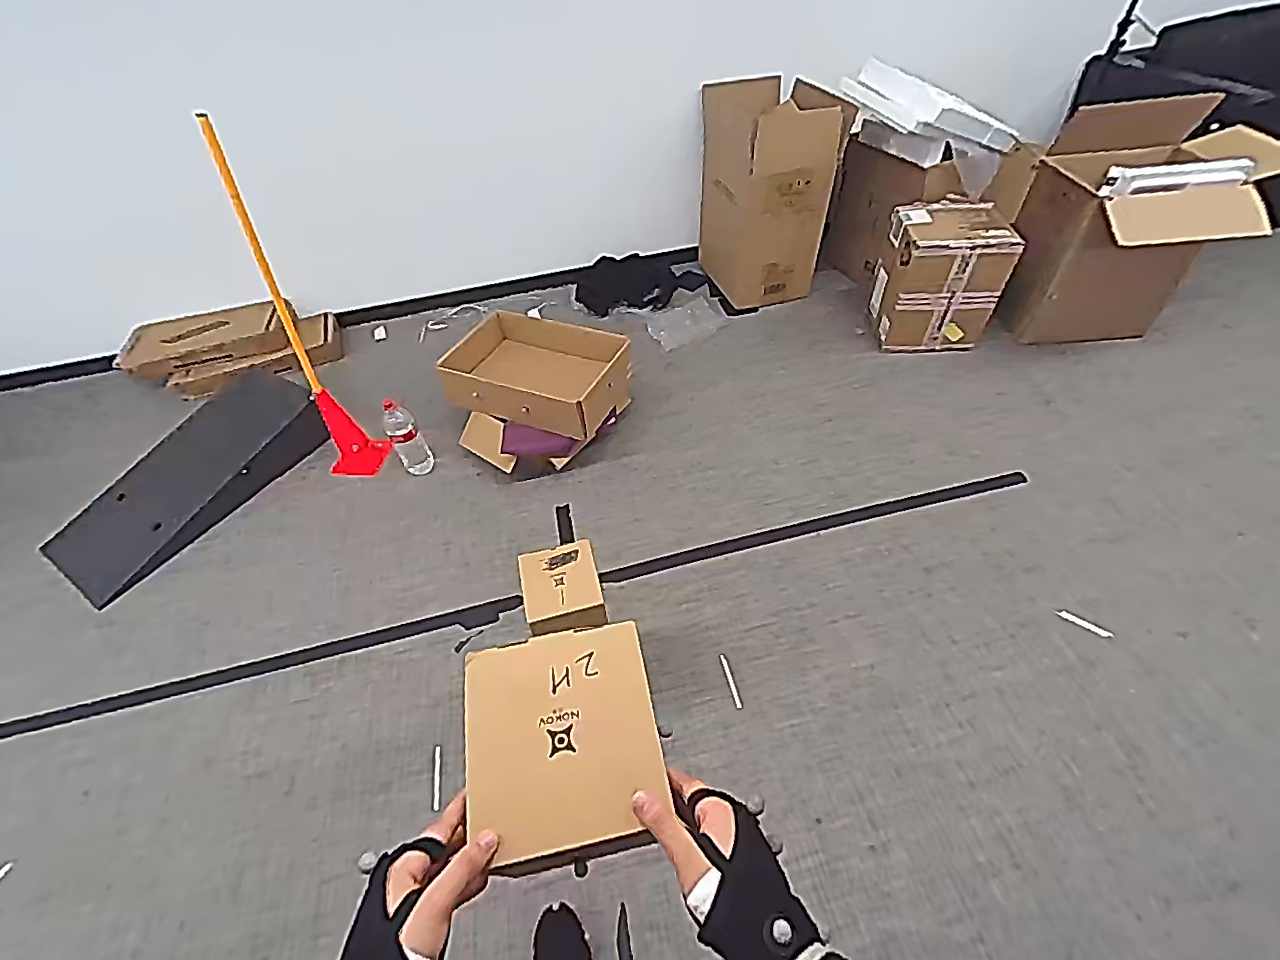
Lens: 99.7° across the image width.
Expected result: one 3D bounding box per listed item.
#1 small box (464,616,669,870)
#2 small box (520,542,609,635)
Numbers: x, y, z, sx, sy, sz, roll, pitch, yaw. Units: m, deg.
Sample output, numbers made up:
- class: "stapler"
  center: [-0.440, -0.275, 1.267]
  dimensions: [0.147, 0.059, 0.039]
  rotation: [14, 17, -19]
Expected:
- class: "small box"
  center: [-0.068, 0.263, 0.535]
  dimensions: [0.168, 0.176, 0.179]
  rotation: [-11, 52, -6]
- class: "small box"
  center: [-0.168, 0.274, 1.233]
  dimensions: [0.168, 0.176, 0.179]
  rotation: [-14, 48, -7]
